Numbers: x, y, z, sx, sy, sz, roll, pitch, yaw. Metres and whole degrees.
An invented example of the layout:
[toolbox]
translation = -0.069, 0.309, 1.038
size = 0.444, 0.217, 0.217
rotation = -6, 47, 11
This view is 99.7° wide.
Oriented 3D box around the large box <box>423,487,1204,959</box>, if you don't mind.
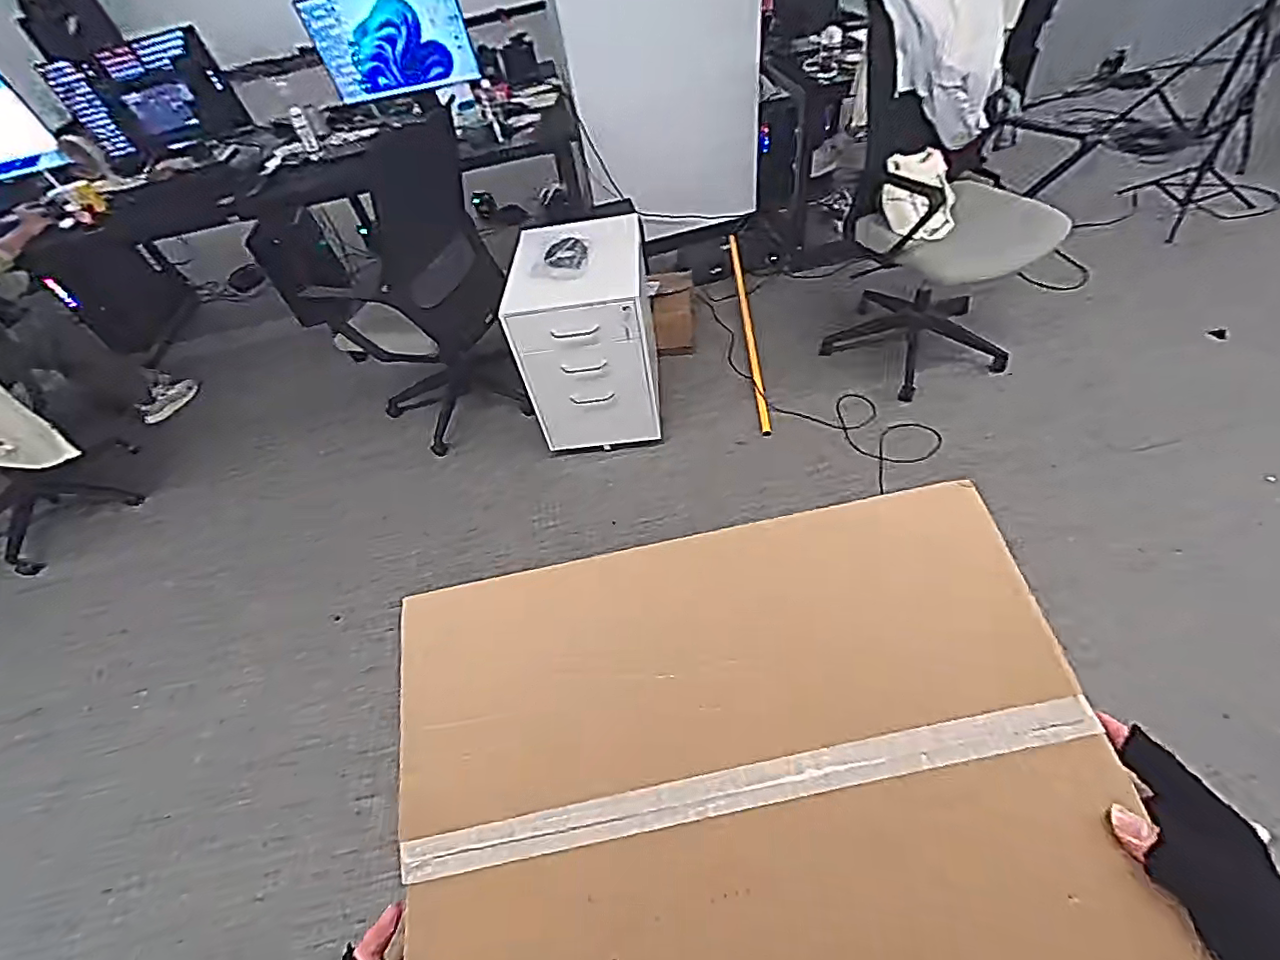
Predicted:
[large box]
translation = 0.079, 0.247, 0.456
size = 0.408, 0.320, 0.320
rotation = -12, 65, 0
